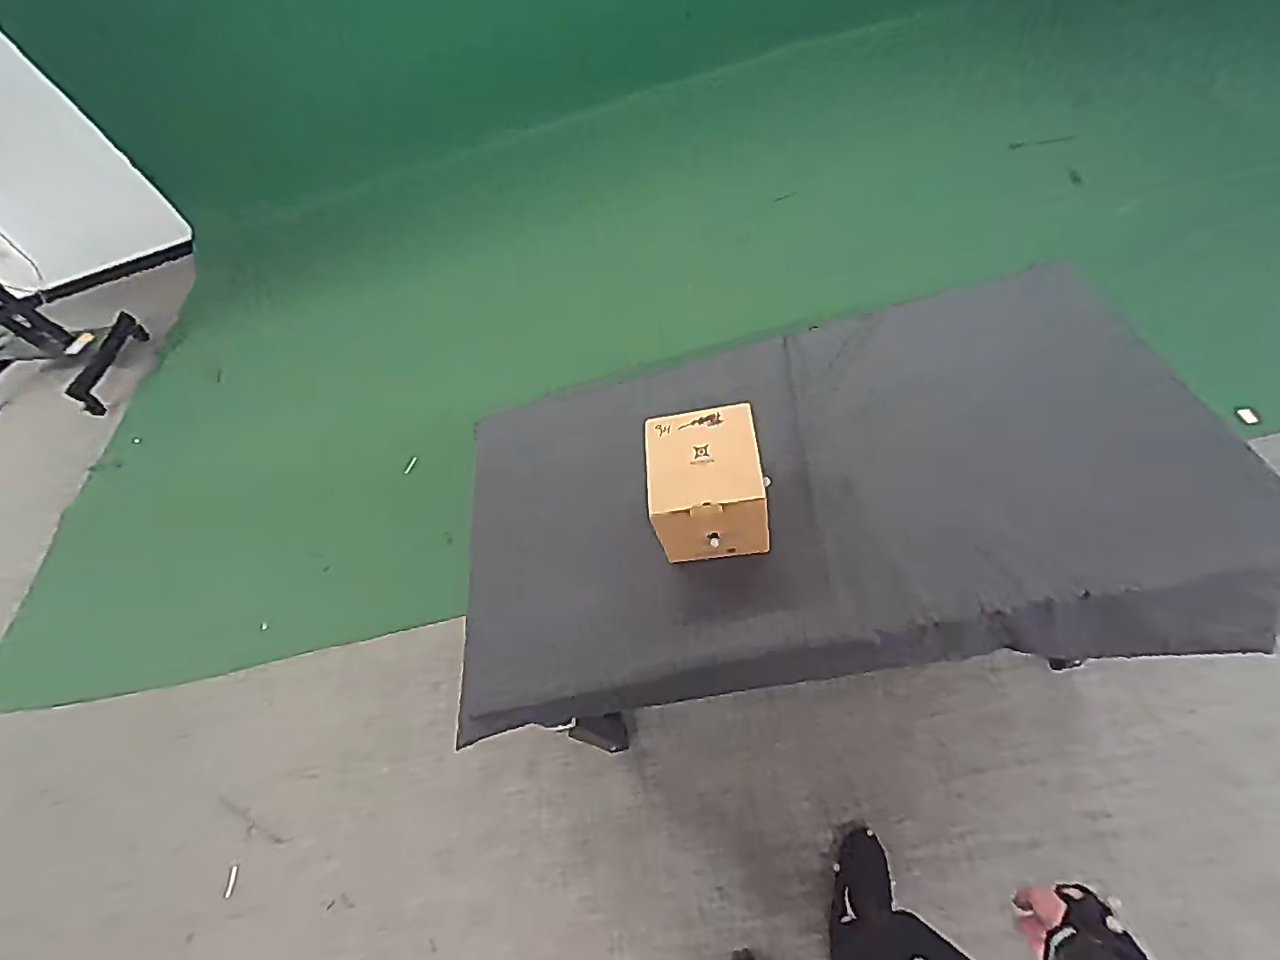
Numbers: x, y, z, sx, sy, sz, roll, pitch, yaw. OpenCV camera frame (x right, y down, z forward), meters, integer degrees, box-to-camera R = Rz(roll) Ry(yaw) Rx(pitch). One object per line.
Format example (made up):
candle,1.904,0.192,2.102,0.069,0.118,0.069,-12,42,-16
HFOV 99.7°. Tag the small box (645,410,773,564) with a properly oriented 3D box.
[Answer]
small box,0.111,0.022,0.862,0.168,0.176,0.179,-12,55,10
